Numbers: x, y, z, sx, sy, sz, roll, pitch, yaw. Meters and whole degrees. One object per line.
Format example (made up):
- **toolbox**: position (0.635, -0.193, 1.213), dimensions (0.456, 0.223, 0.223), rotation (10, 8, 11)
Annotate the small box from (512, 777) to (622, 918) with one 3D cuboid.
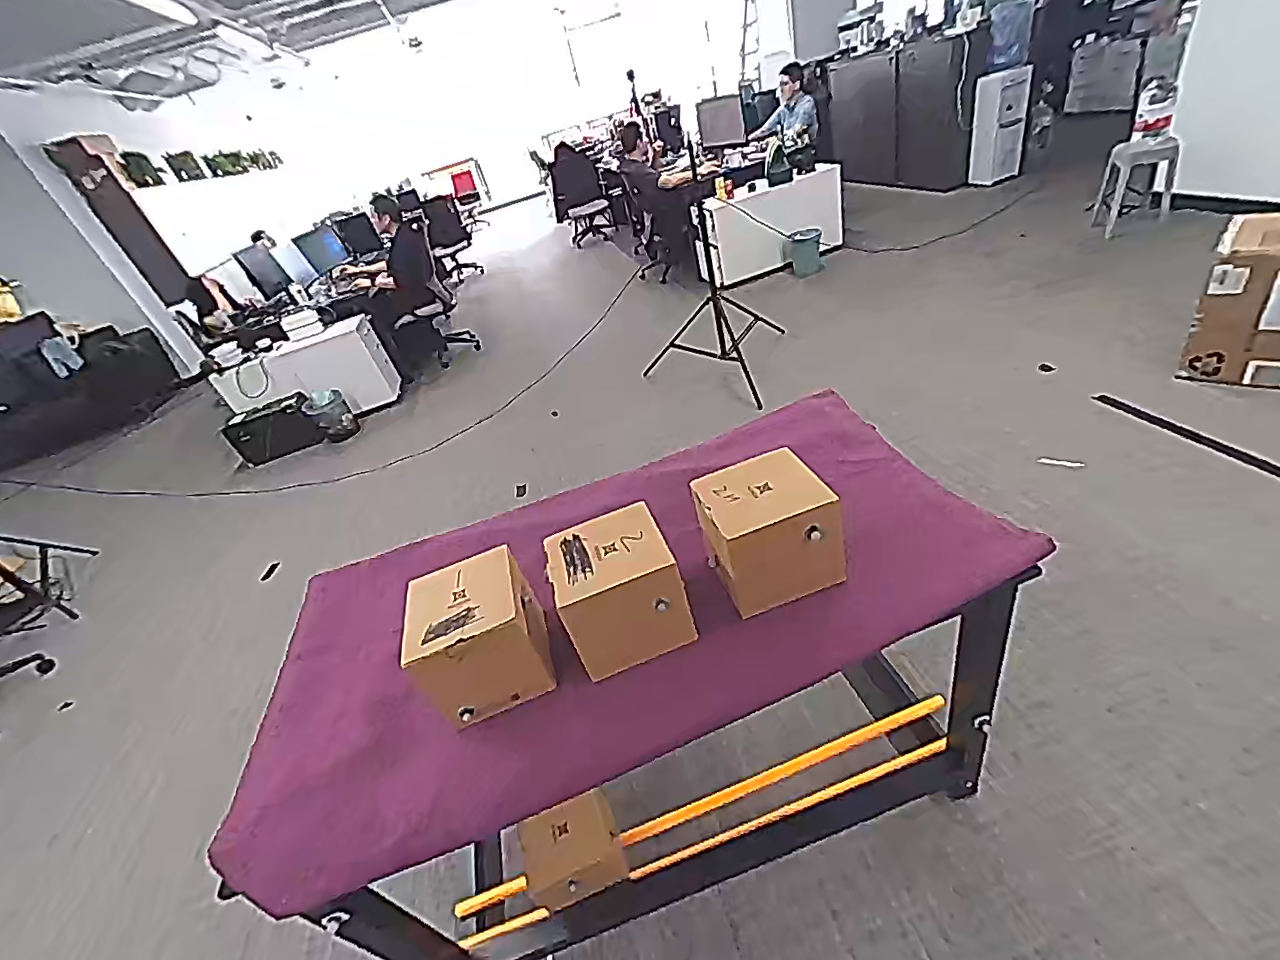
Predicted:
- **small box**: position (-0.148, 0.775, 1.141), dimensions (0.179, 0.176, 0.168), rotation (-24, 37, -7)
